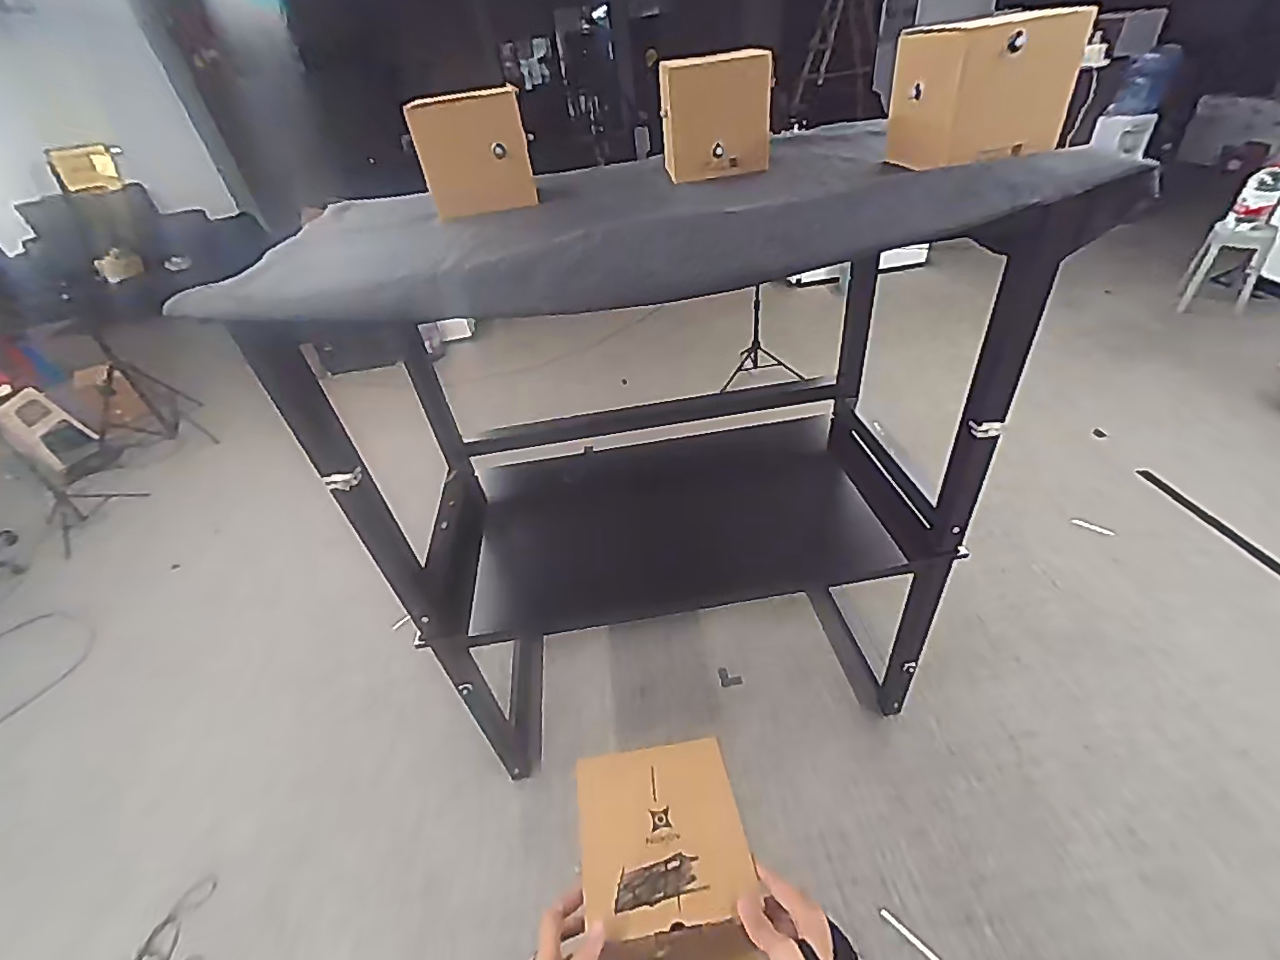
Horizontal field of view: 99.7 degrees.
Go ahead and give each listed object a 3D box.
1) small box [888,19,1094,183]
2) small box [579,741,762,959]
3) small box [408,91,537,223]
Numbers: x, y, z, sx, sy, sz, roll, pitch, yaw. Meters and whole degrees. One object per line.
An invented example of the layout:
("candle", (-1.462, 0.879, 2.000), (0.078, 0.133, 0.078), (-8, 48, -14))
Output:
("small box", (0.485, -0.544, 0.785), (0.168, 0.176, 0.179), (-10, 38, -1))
("small box", (0.026, 0.428, 0.596), (0.168, 0.176, 0.179), (-7, 31, -6))
("small box", (-0.282, -0.571, 0.956), (0.179, 0.176, 0.168), (-11, 39, -4))
